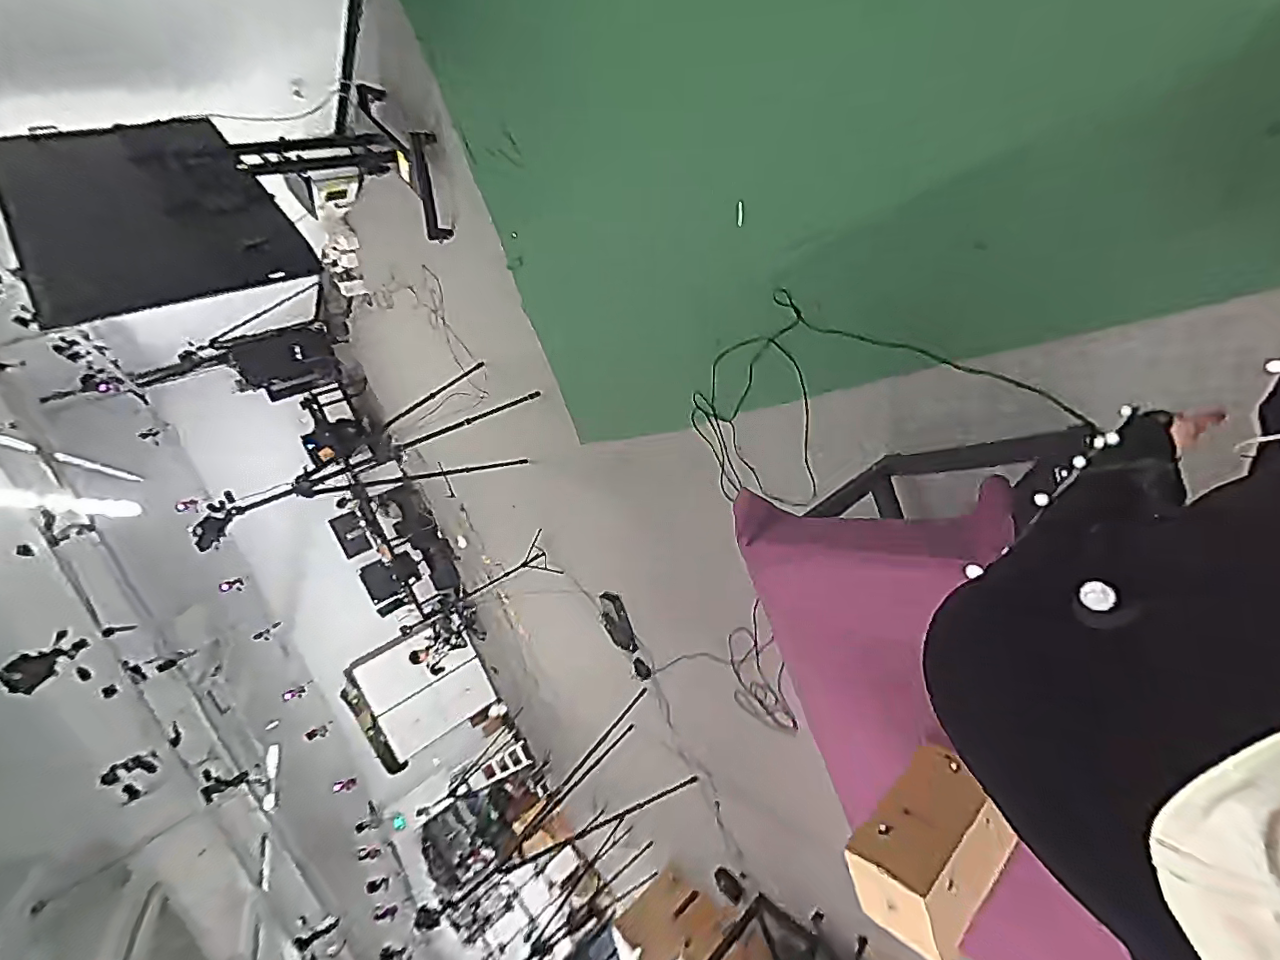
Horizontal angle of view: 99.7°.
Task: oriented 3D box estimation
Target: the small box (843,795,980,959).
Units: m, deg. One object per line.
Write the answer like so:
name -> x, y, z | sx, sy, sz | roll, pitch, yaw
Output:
small box -> 0.529, 0.765, 1.052 | 0.168, 0.176, 0.179 | 1, 113, 56
